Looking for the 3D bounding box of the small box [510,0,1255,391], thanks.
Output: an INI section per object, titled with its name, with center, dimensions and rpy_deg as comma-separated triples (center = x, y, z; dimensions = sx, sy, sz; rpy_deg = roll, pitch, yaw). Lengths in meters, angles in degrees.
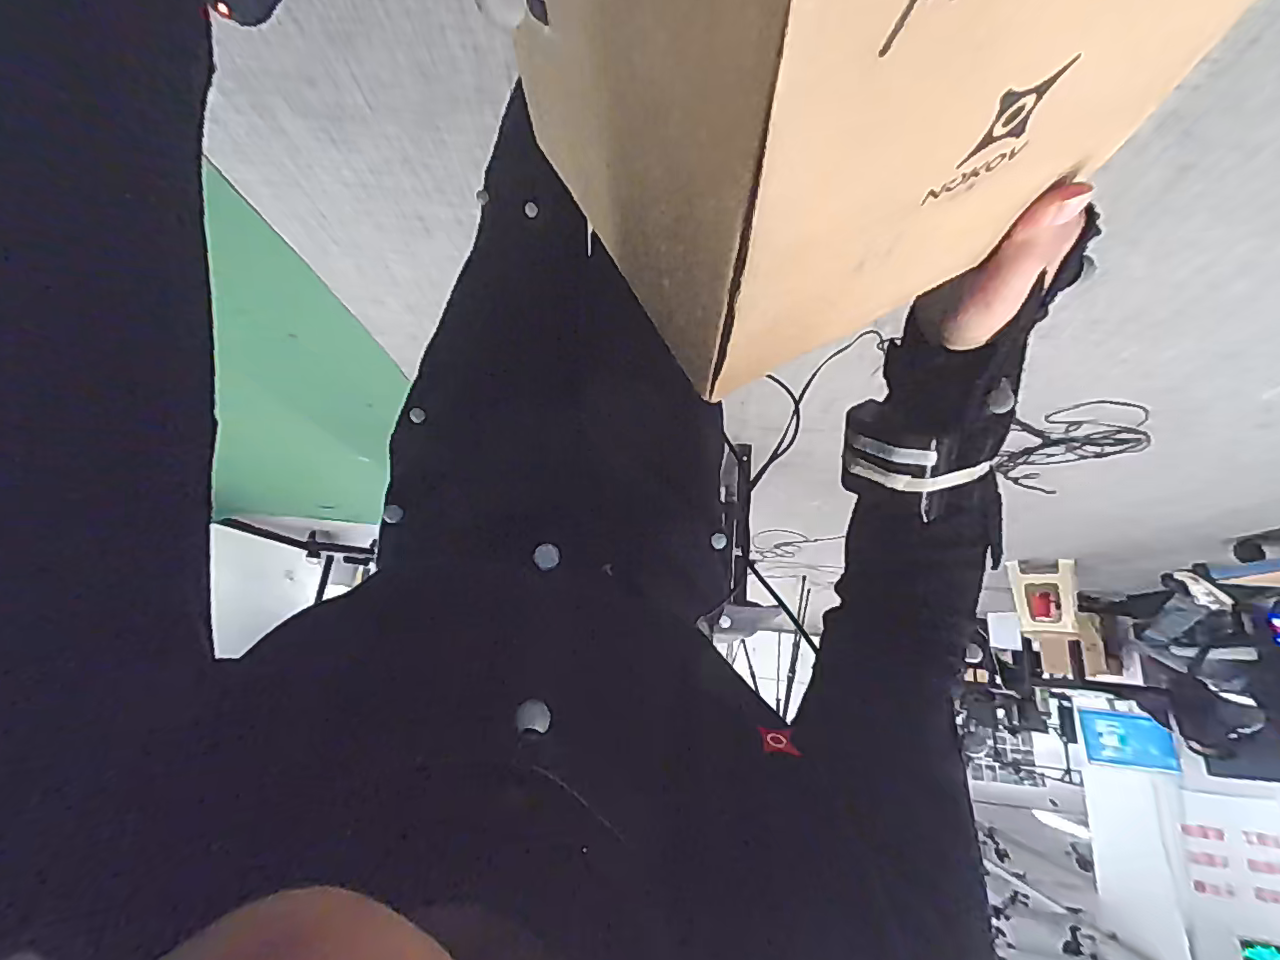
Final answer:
[small box]
center = 0.059, -0.164, 0.173
dimensions = 0.168, 0.176, 0.179
rpy_deg = -28, 166, -6
